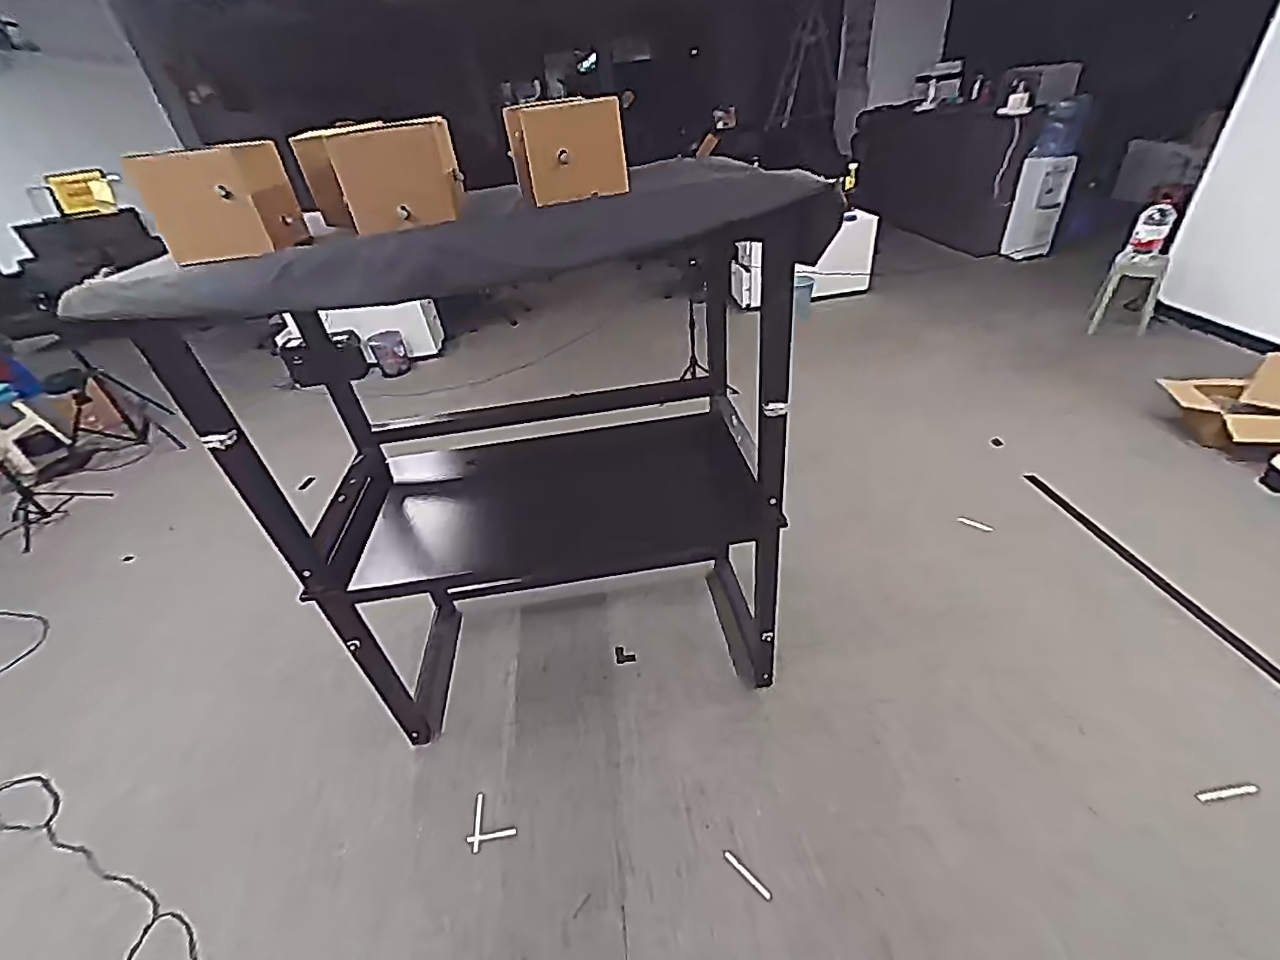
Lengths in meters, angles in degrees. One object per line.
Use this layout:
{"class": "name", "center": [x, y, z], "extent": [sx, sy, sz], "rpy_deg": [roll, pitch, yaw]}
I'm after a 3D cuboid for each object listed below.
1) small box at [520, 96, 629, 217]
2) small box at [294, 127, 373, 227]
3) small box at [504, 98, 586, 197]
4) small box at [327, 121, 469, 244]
{"class": "small box", "center": [-0.119, -0.596, 1.001], "extent": [0.168, 0.176, 0.179], "rpy_deg": [-10, 35, -3]}
{"class": "small box", "center": [-0.620, -0.673, 1.198], "extent": [0.168, 0.176, 0.179], "rpy_deg": [-14, 37, -6]}
{"class": "small box", "center": [-0.196, -0.755, 1.229], "extent": [0.179, 0.176, 0.168], "rpy_deg": [-9, 37, -2]}
{"class": "small box", "center": [-0.424, -0.543, 0.986], "extent": [0.179, 0.176, 0.168], "rpy_deg": [-9, 35, -3]}
